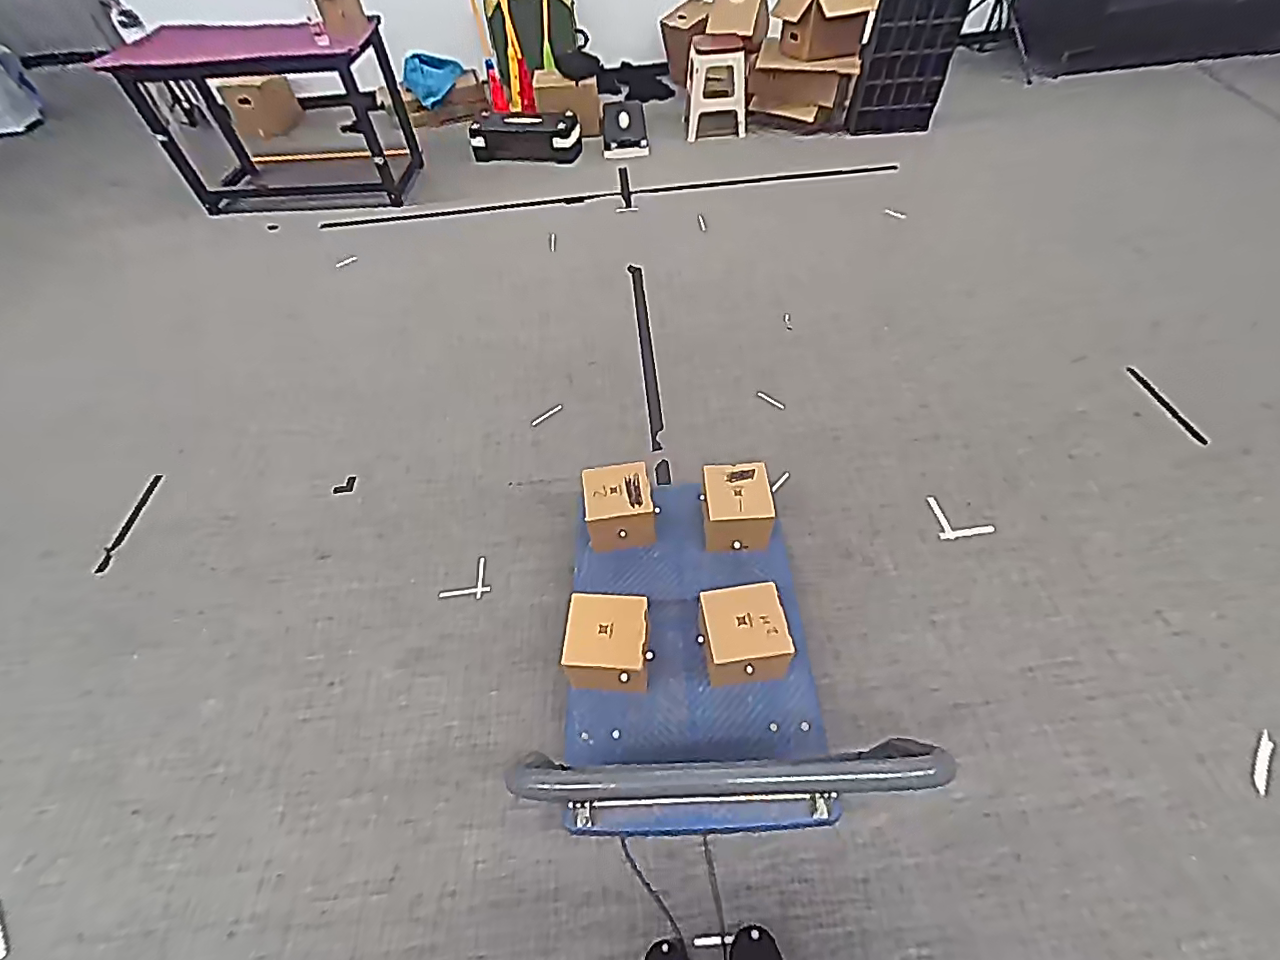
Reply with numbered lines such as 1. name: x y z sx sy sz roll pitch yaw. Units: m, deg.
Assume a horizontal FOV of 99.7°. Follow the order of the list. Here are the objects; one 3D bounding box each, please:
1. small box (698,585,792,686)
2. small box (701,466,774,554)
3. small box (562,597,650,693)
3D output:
1. small box: 0.234 0.364 1.249 0.179 0.176 0.168 -8 53 -1
2. small box: 0.256 0.083 1.461 0.168 0.176 0.179 -4 54 2
3. small box: -0.071 0.386 1.257 0.179 0.176 0.168 2 52 4
